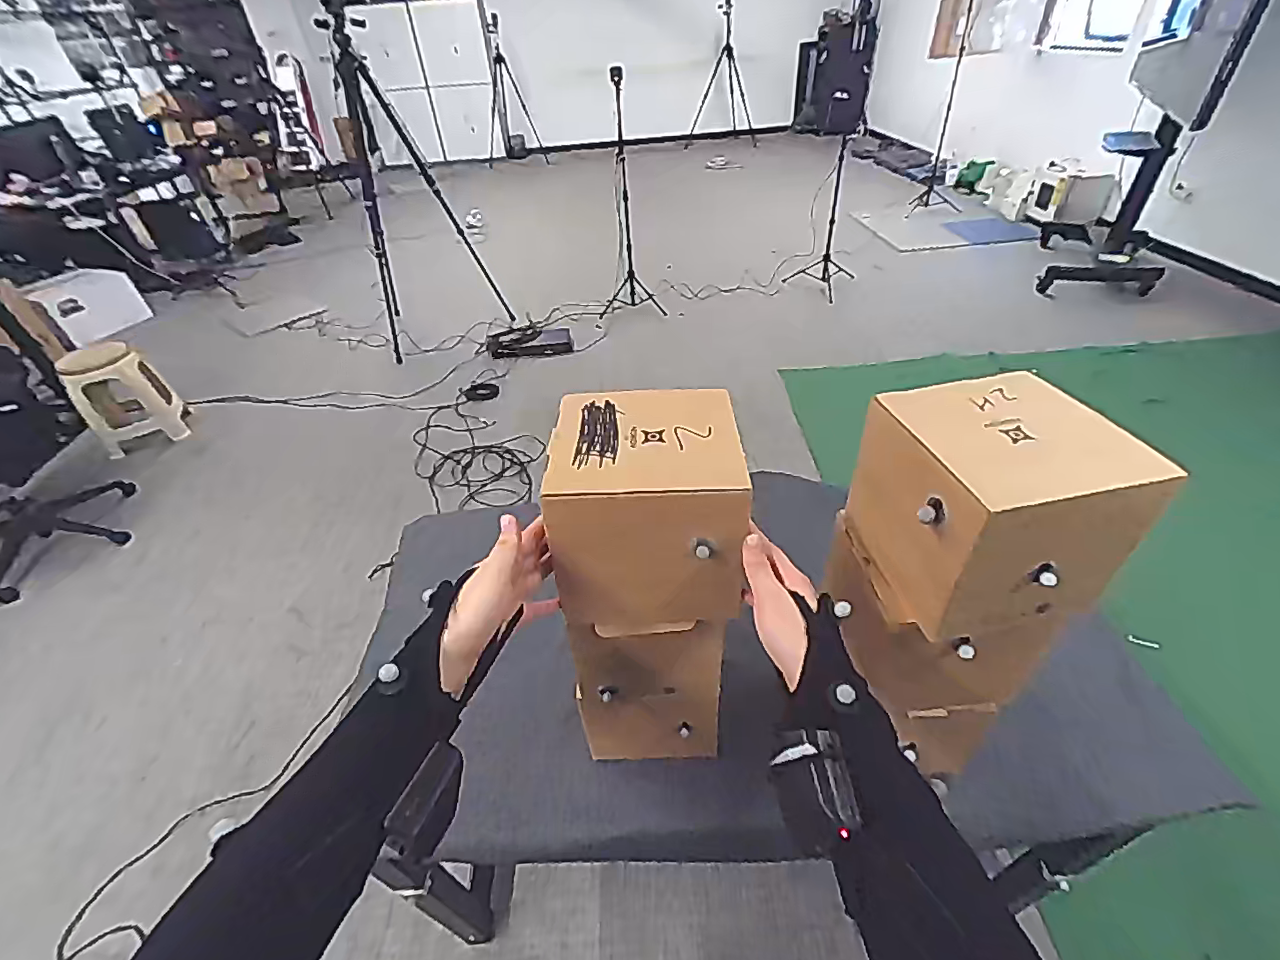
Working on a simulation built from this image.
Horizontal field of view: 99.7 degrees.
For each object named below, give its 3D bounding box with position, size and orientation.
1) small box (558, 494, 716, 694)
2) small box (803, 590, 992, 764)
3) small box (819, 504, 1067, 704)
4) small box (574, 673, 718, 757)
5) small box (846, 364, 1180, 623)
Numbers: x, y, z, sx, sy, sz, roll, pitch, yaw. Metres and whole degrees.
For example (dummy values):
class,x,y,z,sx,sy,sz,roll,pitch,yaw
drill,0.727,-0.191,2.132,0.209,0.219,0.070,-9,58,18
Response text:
class,x,y,z,sx,sy,sz,roll,pitch,yaw
small box,0.000,0.142,0.658,0.168,0.176,0.179,-6,38,-1
small box,0.326,0.264,0.726,0.168,0.176,0.179,-4,40,3
small box,0.323,0.138,0.623,0.179,0.176,0.168,-5,39,2
small box,0.012,0.269,0.761,0.179,0.176,0.168,-5,39,3
small box,0.318,0.016,0.511,0.168,0.176,0.179,-10,39,-5
